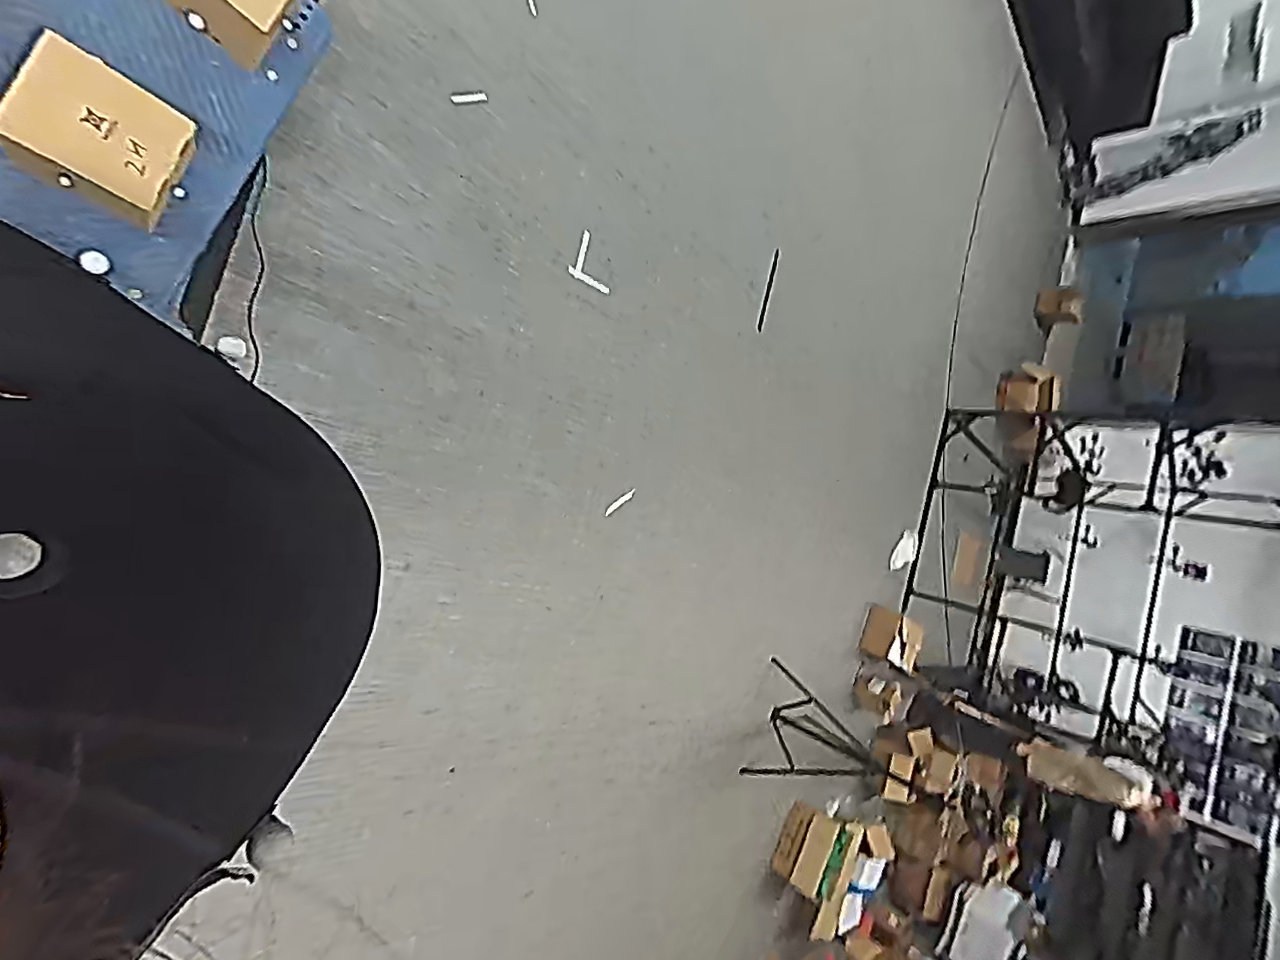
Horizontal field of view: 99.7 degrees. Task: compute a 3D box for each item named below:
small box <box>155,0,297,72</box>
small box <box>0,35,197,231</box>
[{"bbox_3d":[-0.703,-0.862,0.925,0.168,0.176,0.179,31,77,-41],"label":"small box"},{"bbox_3d":[-0.844,-0.524,0.851,0.179,0.176,0.168,27,79,-42],"label":"small box"}]
